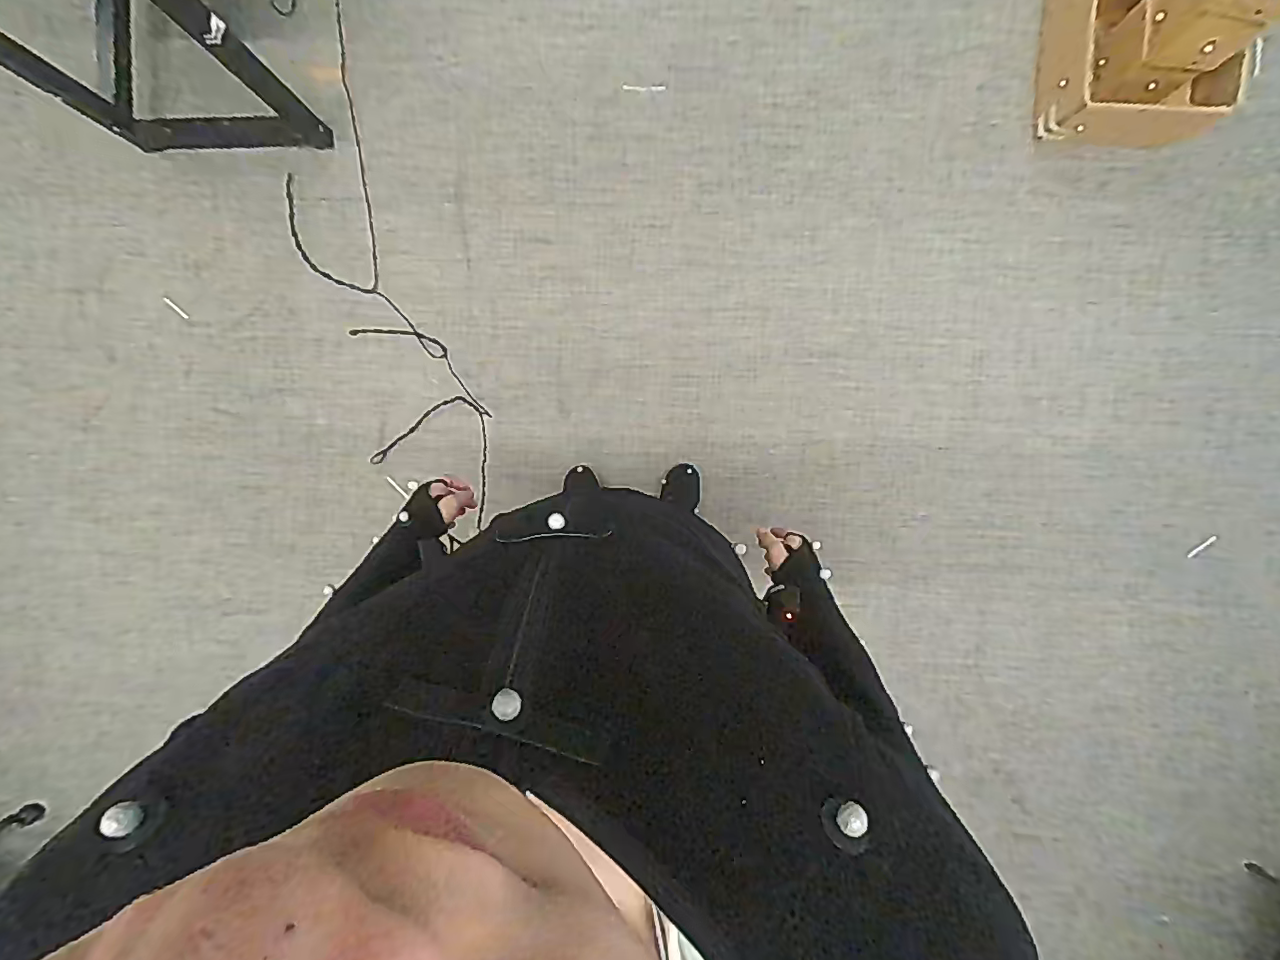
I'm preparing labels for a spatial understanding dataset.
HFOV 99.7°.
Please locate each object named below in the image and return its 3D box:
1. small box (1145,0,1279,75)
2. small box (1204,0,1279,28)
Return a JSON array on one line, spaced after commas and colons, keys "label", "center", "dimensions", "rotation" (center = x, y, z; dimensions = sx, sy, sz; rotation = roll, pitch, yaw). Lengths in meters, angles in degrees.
[{"label": "small box", "center": [1.340, -1.091, 1.261], "dimensions": [0.168, 0.176, 0.179], "rotation": [6, 92, 2]}, {"label": "small box", "center": [1.319, -1.076, 1.096], "dimensions": [0.168, 0.176, 0.179], "rotation": [14, 92, 2]}]
